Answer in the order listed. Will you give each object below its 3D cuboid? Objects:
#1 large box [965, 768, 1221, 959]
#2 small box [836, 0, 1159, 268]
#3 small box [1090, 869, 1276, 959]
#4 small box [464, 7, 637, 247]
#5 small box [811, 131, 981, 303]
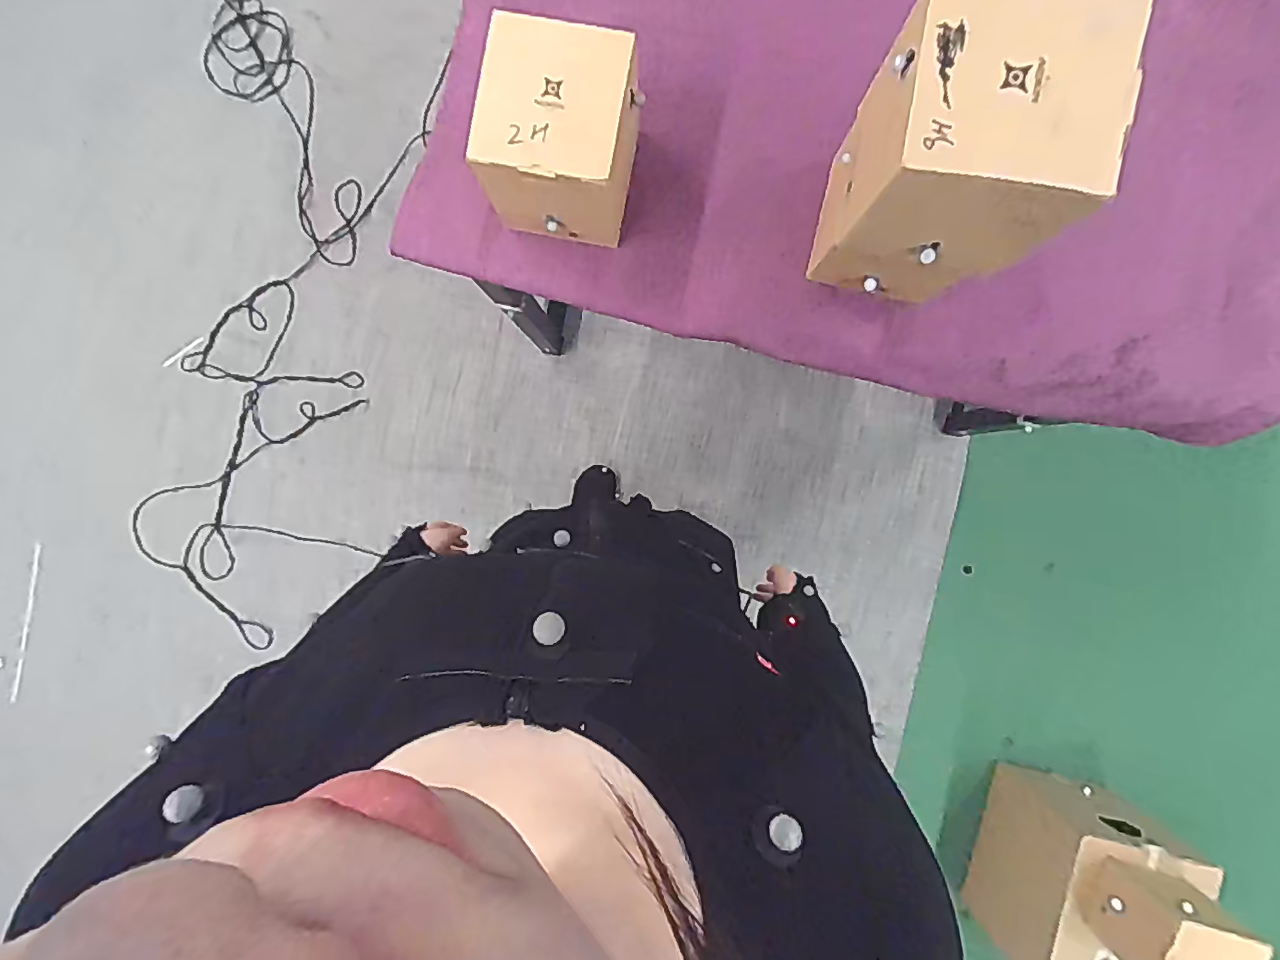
[{"bbox_3d":[1.071,1.005,1.325,0.320,0.320,0.408,14,92,2],"label":"large box"},{"bbox_3d":[0.310,-0.317,0.507,0.179,0.176,0.168,10,91,2],"label":"small box"},{"bbox_3d":[1.070,0.928,1.080,0.179,0.176,0.168,16,92,2],"label":"small box"},{"bbox_3d":[-0.099,-0.425,0.679,0.168,0.176,0.179,11,90,2],"label":"small box"},{"bbox_3d":[0.328,-0.344,0.670,0.168,0.176,0.179,13,91,2],"label":"small box"}]
